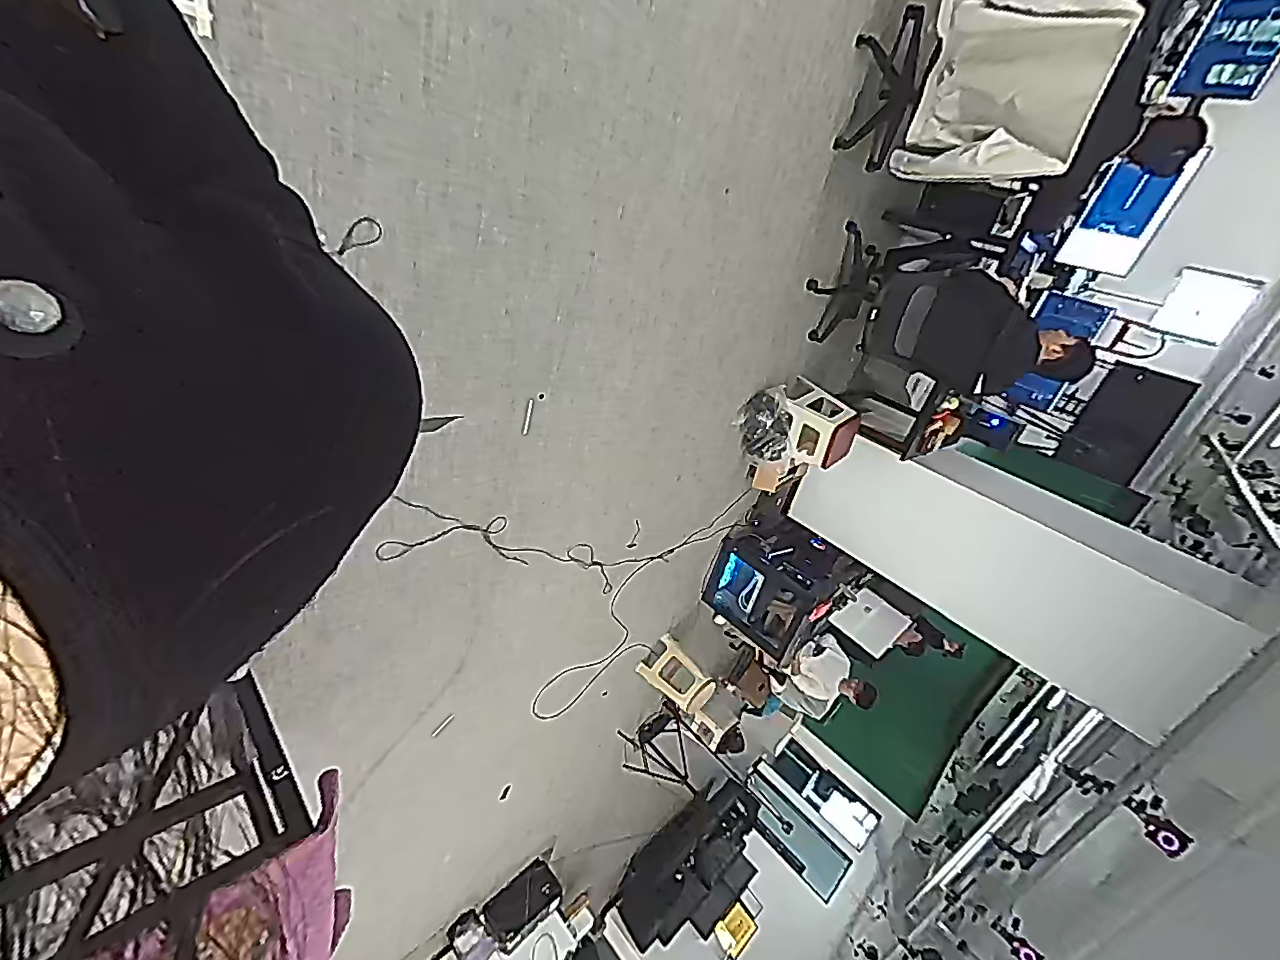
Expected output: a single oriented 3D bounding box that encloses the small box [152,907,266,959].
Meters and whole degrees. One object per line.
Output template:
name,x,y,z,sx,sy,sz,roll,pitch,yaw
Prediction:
small box,-0.842,1.005,1.068,0.168,0.176,0.179,-17,131,-45
